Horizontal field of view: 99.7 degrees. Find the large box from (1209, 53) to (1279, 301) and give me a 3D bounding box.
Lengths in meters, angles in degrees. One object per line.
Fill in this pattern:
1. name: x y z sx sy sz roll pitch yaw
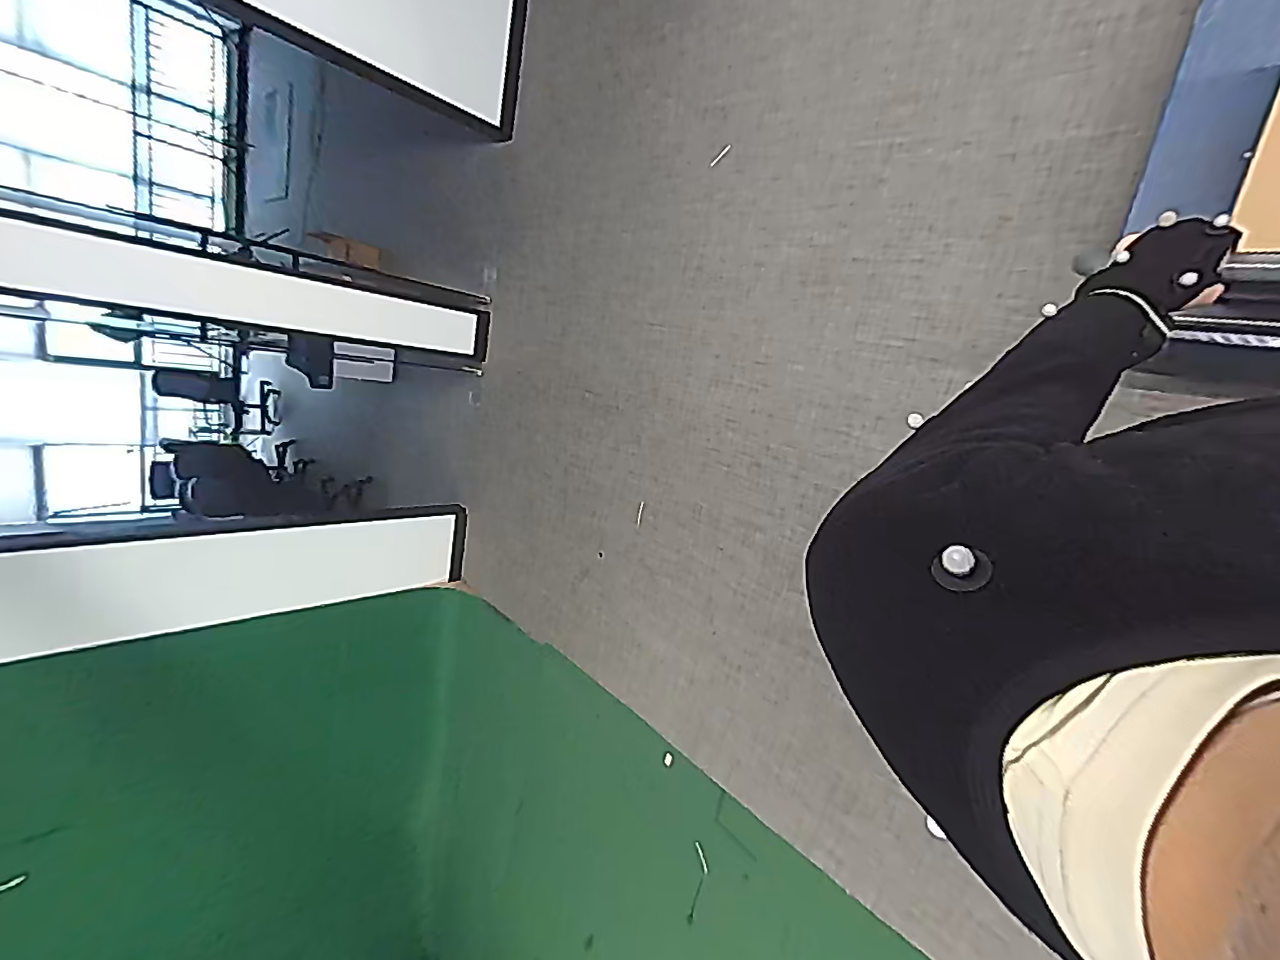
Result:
1. large box: 1.114 -0.496 0.789 0.320 0.320 0.408 20 104 41
